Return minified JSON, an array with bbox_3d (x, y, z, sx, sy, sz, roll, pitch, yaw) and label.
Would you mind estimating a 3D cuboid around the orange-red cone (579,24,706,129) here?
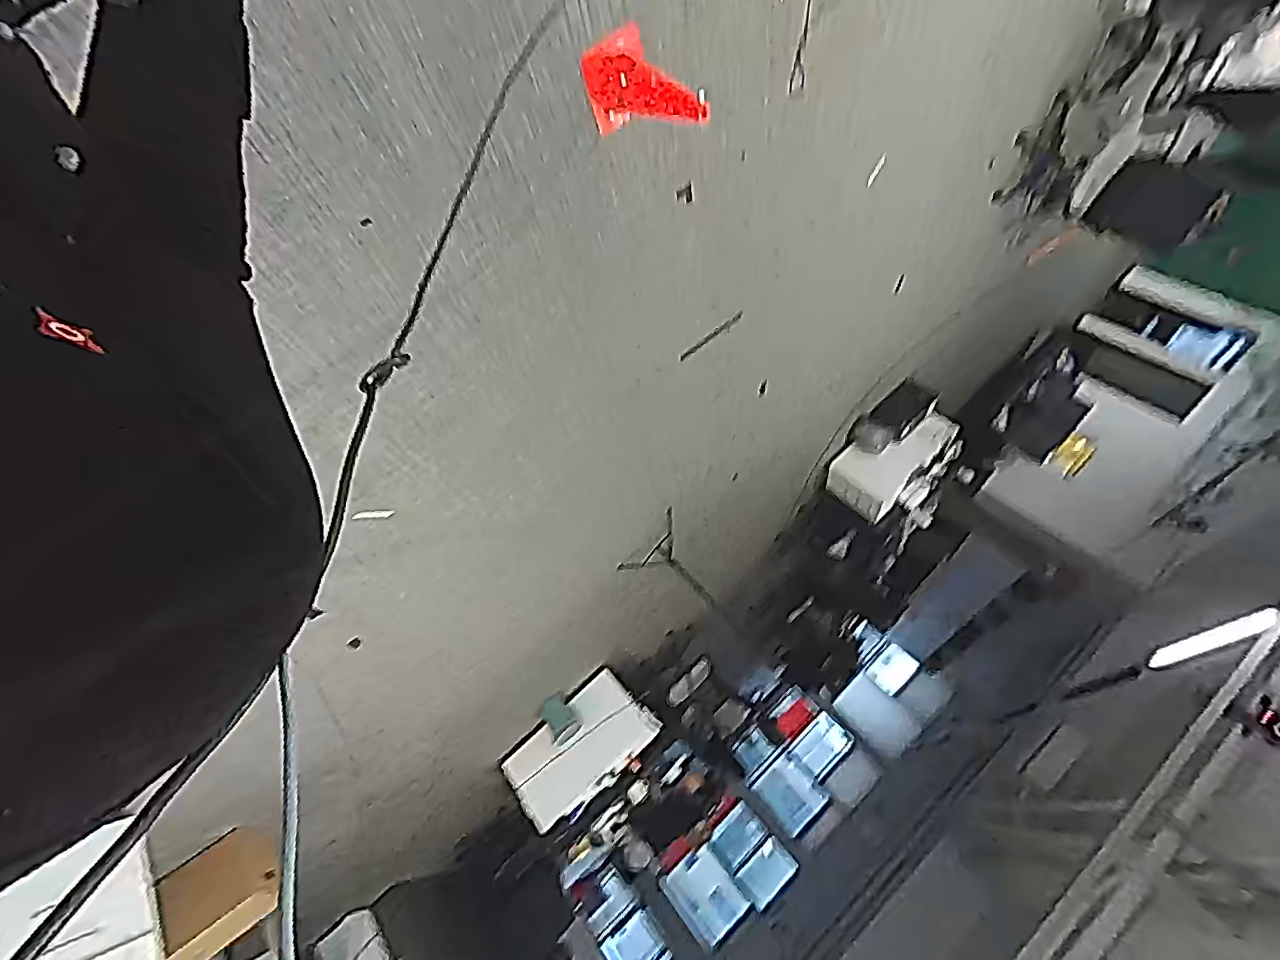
[{"bbox_3d":[0.037,-1.012,1.412,0.199,0.360,0.198,-42,151,-11],"label":"orange-red cone"}]
